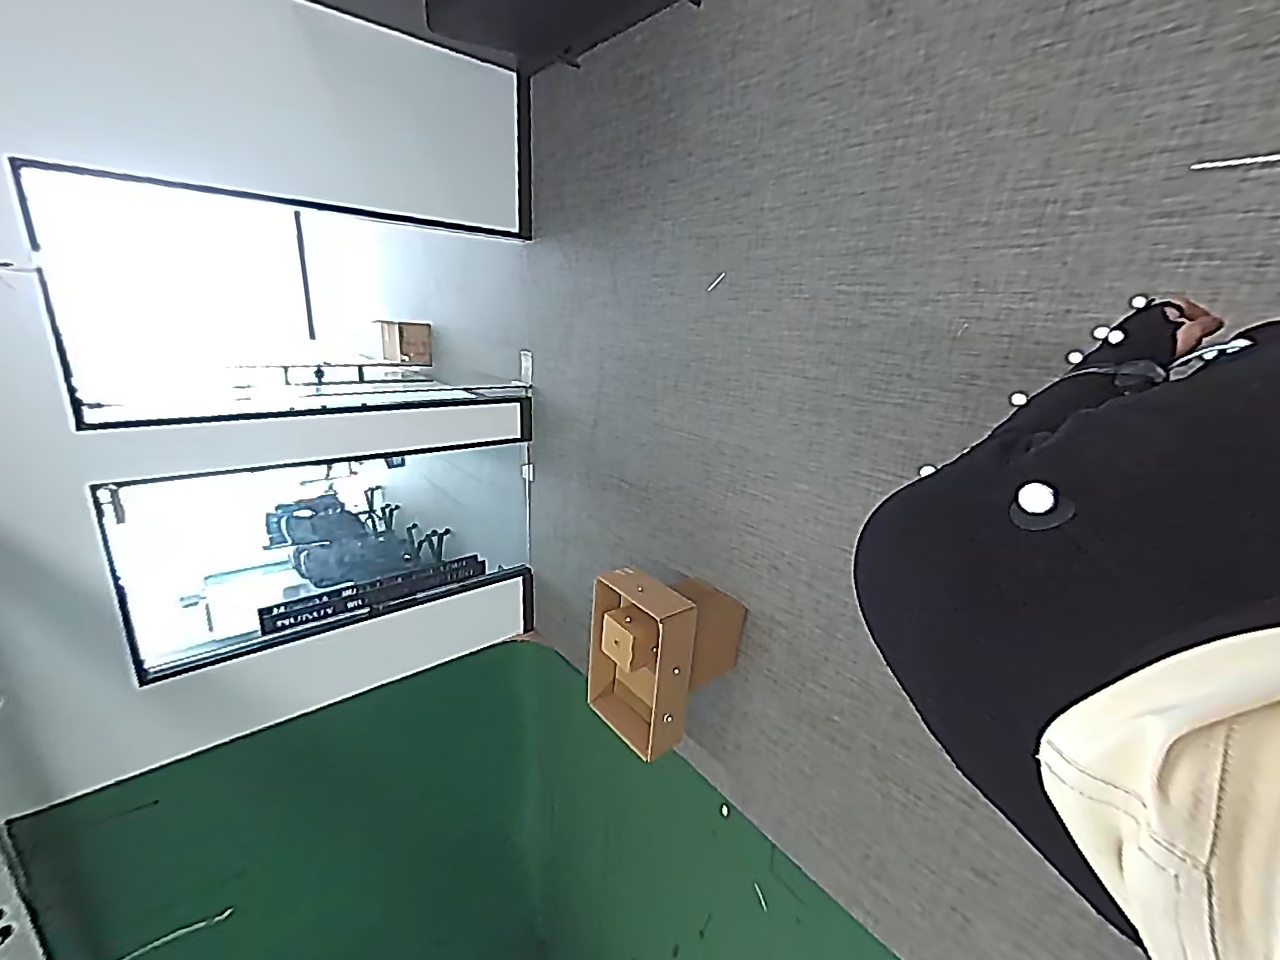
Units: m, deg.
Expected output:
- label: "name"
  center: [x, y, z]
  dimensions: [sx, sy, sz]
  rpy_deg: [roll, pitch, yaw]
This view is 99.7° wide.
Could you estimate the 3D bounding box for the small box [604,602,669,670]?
- label: "small box"
  center: [-0.014, 0.584, 2.057]
  dimensions: [0.179, 0.176, 0.168]
  rpy_deg: [25, 116, 45]
